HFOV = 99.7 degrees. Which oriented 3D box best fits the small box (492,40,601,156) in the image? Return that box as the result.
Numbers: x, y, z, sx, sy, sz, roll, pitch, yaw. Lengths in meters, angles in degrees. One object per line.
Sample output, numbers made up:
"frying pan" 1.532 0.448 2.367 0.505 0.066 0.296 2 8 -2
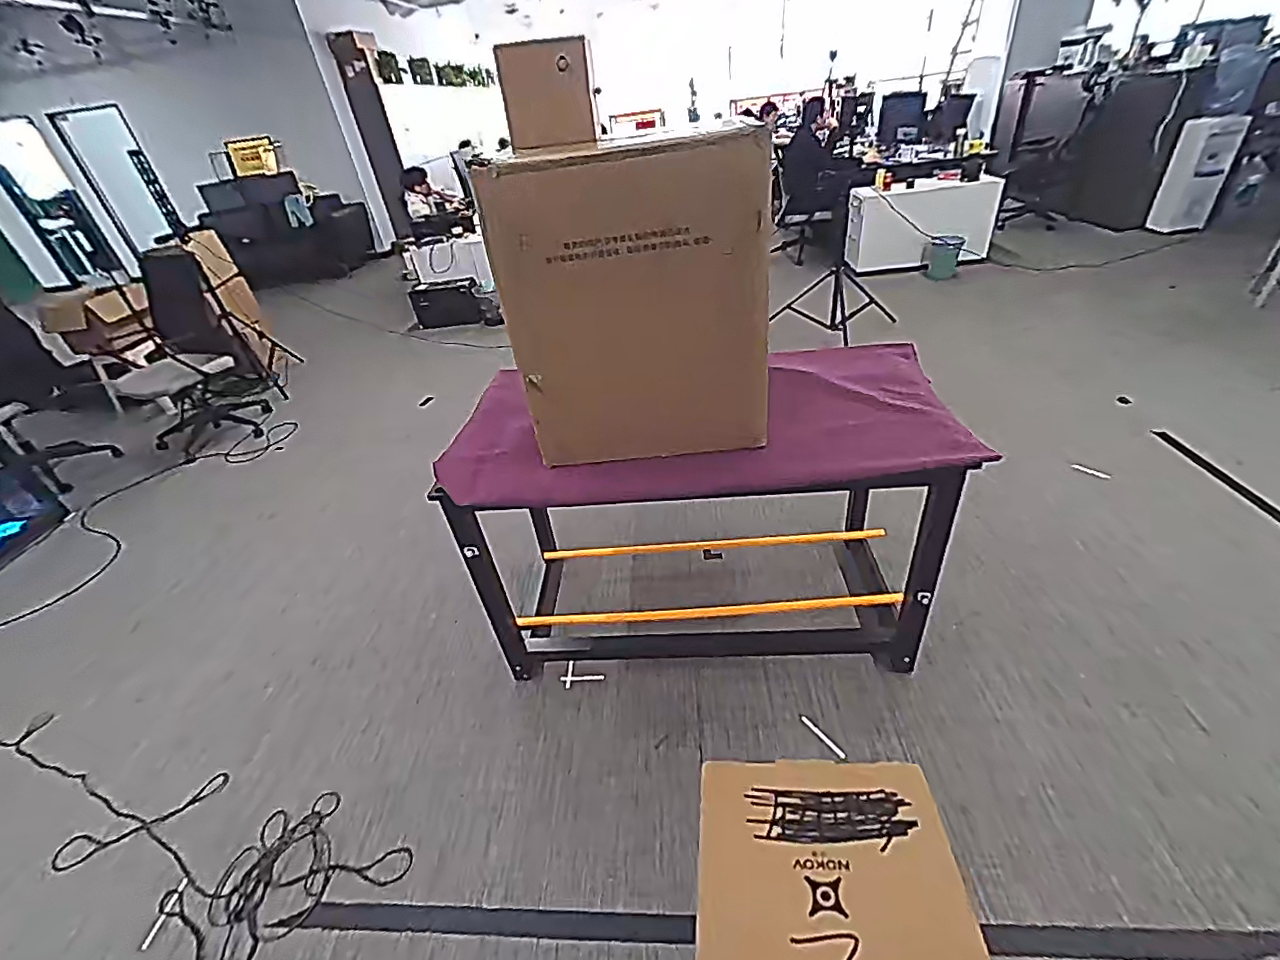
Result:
"small box" -0.177 -0.768 1.093 0.179 0.176 0.168 -5 35 3
